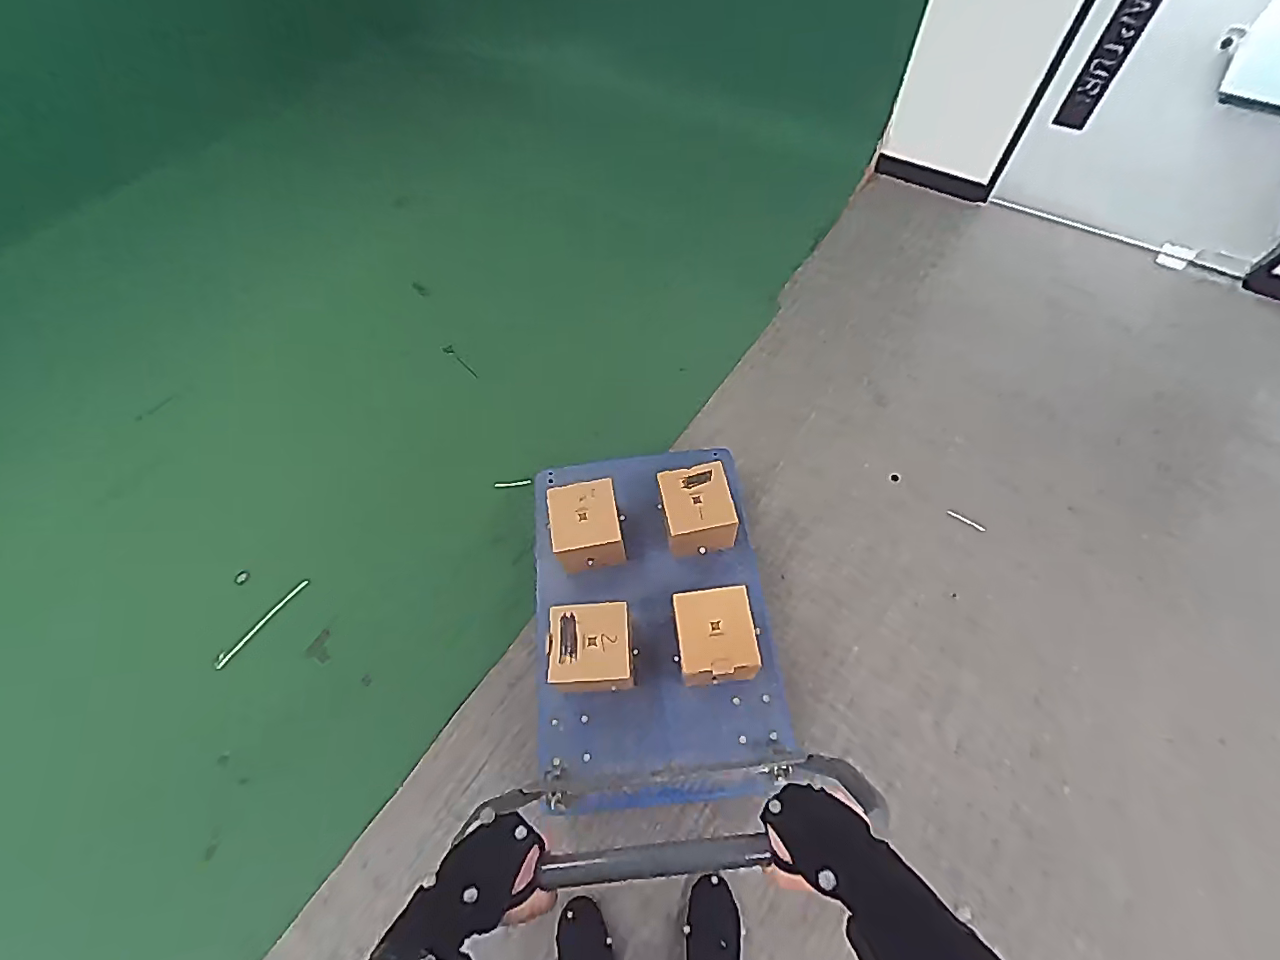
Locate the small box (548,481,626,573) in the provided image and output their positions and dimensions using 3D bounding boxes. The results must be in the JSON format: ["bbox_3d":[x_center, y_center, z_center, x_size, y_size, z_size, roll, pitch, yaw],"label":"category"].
[{"bbox_3d":[-0.131,0.127,1.376,0.168,0.176,0.179,-9,61,-2],"label":"small box"}]

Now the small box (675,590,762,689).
[{"bbox_3d":[0.170,0.365,1.231,0.168,0.176,0.179,-7,62,0],"label":"small box"}]

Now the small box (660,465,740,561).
[{"bbox_3d":[0.145,0.087,1.379,0.168,0.176,0.179,-10,62,-2],"label":"small box"}]
